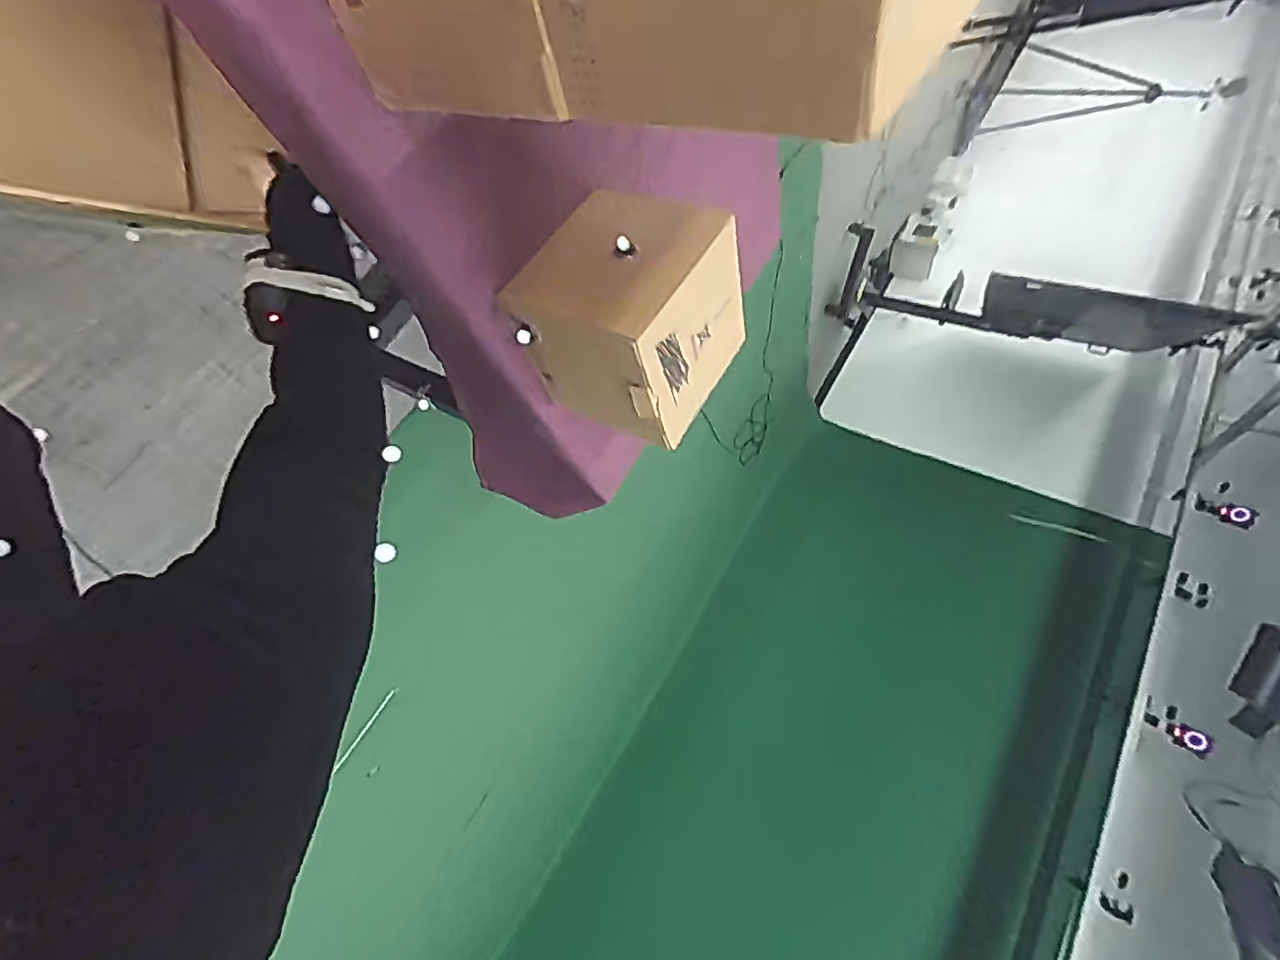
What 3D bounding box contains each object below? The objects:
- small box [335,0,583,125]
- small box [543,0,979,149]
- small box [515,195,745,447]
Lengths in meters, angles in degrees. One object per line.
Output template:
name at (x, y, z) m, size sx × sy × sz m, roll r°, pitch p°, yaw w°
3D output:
small box at (-0.076, -0.338, 0.308) m, size 0.179 × 0.176 × 0.168 m, roll -52°, pitch 151°, yaw -23°
small box at (0.062, -0.281, 0.239) m, size 0.179 × 0.176 × 0.168 m, roll -52°, pitch 150°, yaw -24°
small box at (-0.008, -0.170, 0.573) m, size 0.179 × 0.176 × 0.168 m, roll -56°, pitch 152°, yaw -19°
